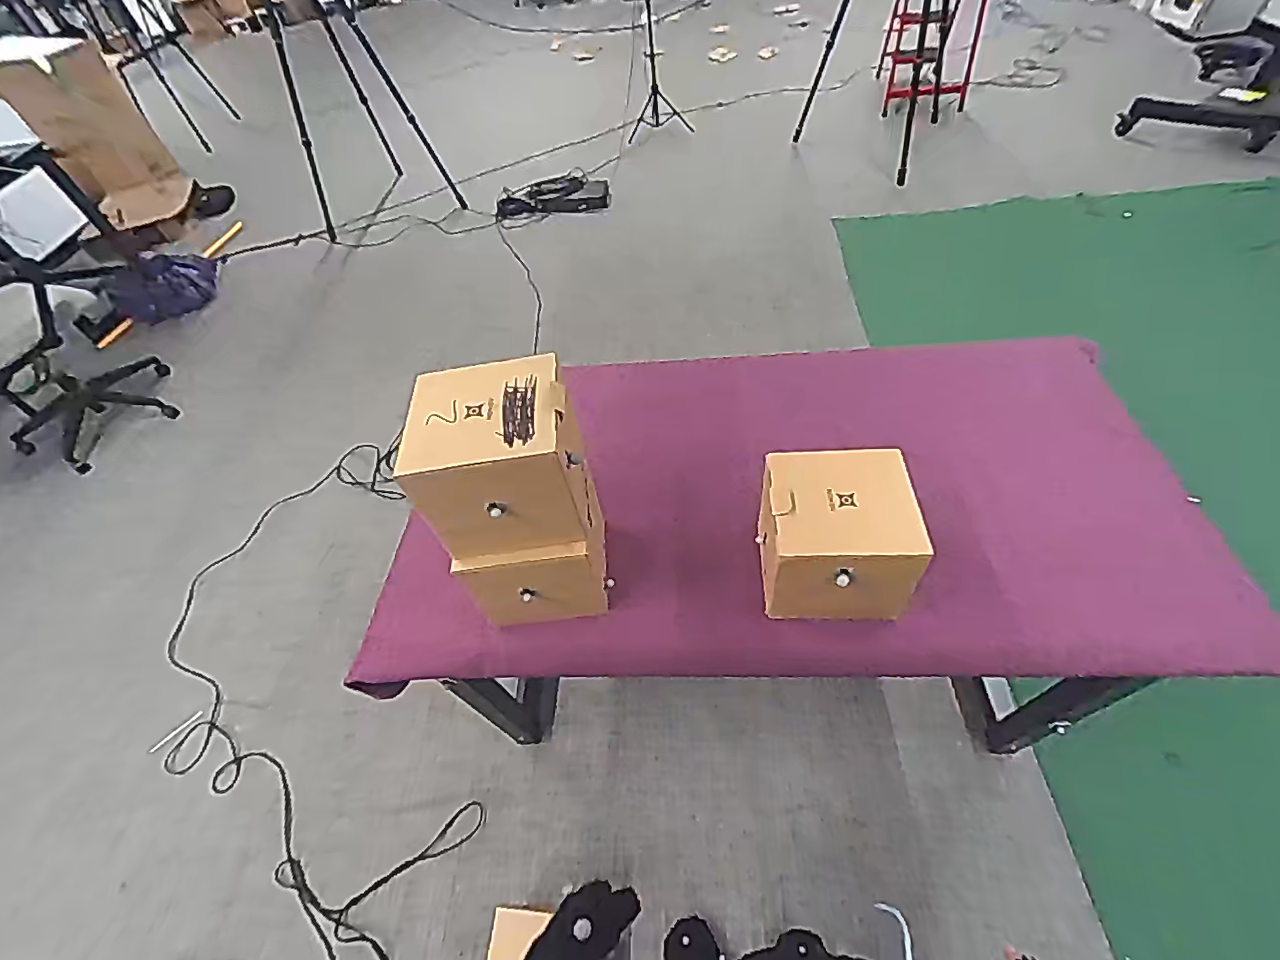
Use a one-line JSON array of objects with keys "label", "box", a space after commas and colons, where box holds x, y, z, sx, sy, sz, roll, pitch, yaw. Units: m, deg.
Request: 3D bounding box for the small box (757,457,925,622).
[{"label": "small box", "box": [0.259, 0.085, 0.744, 0.179, 0.176, 0.168, -1, 51, 8]}]

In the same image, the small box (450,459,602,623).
[{"label": "small box", "box": [-0.150, 0.093, 0.785, 0.179, 0.176, 0.168, -7, 51, 2]}]
